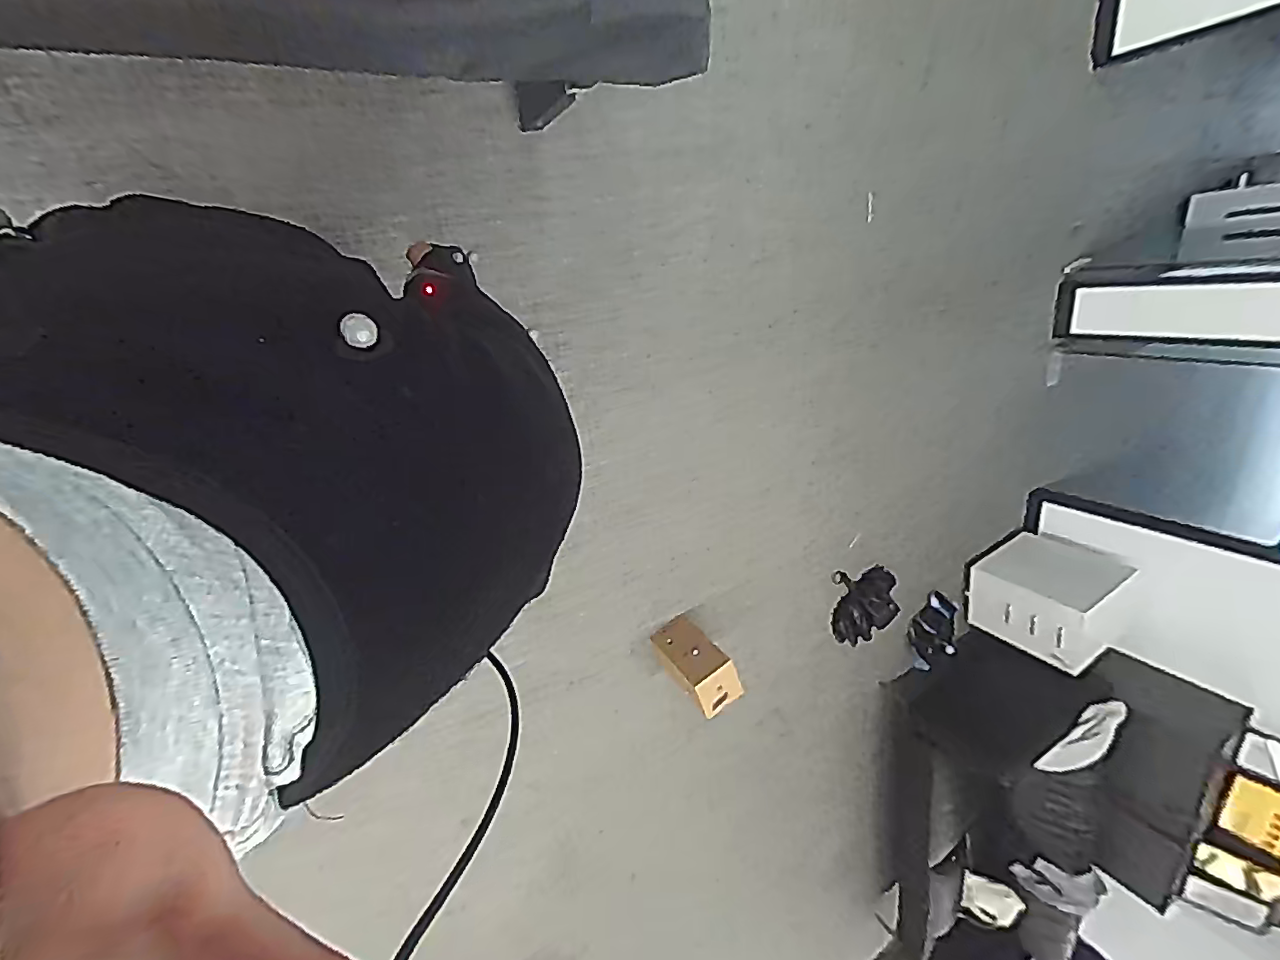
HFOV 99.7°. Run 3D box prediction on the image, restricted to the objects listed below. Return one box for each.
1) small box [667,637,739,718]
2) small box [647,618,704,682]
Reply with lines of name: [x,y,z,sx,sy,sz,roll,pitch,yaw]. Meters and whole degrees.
small box: [0.225,0.702,1.935,0.168,0.176,0.179,-31,118,-18]
small box: [0.151,0.657,2.076,0.168,0.176,0.179,-31,120,-17]
